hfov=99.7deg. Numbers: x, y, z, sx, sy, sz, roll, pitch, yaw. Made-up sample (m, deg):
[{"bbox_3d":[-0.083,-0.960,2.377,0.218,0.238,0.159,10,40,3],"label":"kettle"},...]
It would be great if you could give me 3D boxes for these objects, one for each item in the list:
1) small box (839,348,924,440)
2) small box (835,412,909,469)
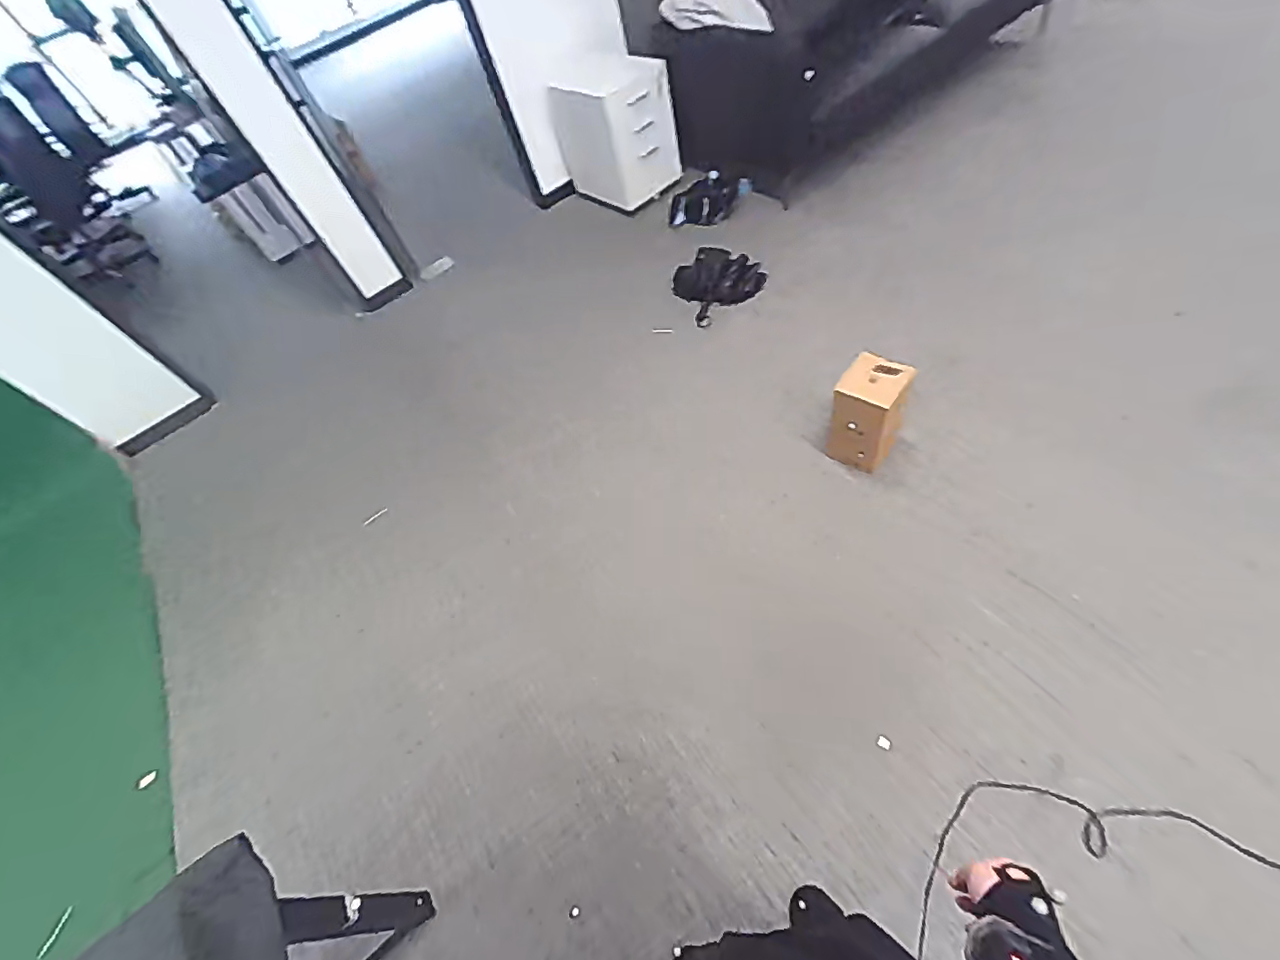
[{"bbox_3d":[0.704,-0.252,1.596,0.168,0.176,0.179,30,69,32],"label":"small box"},{"bbox_3d":[0.740,-0.164,1.730,0.168,0.176,0.179,29,66,31],"label":"small box"}]
